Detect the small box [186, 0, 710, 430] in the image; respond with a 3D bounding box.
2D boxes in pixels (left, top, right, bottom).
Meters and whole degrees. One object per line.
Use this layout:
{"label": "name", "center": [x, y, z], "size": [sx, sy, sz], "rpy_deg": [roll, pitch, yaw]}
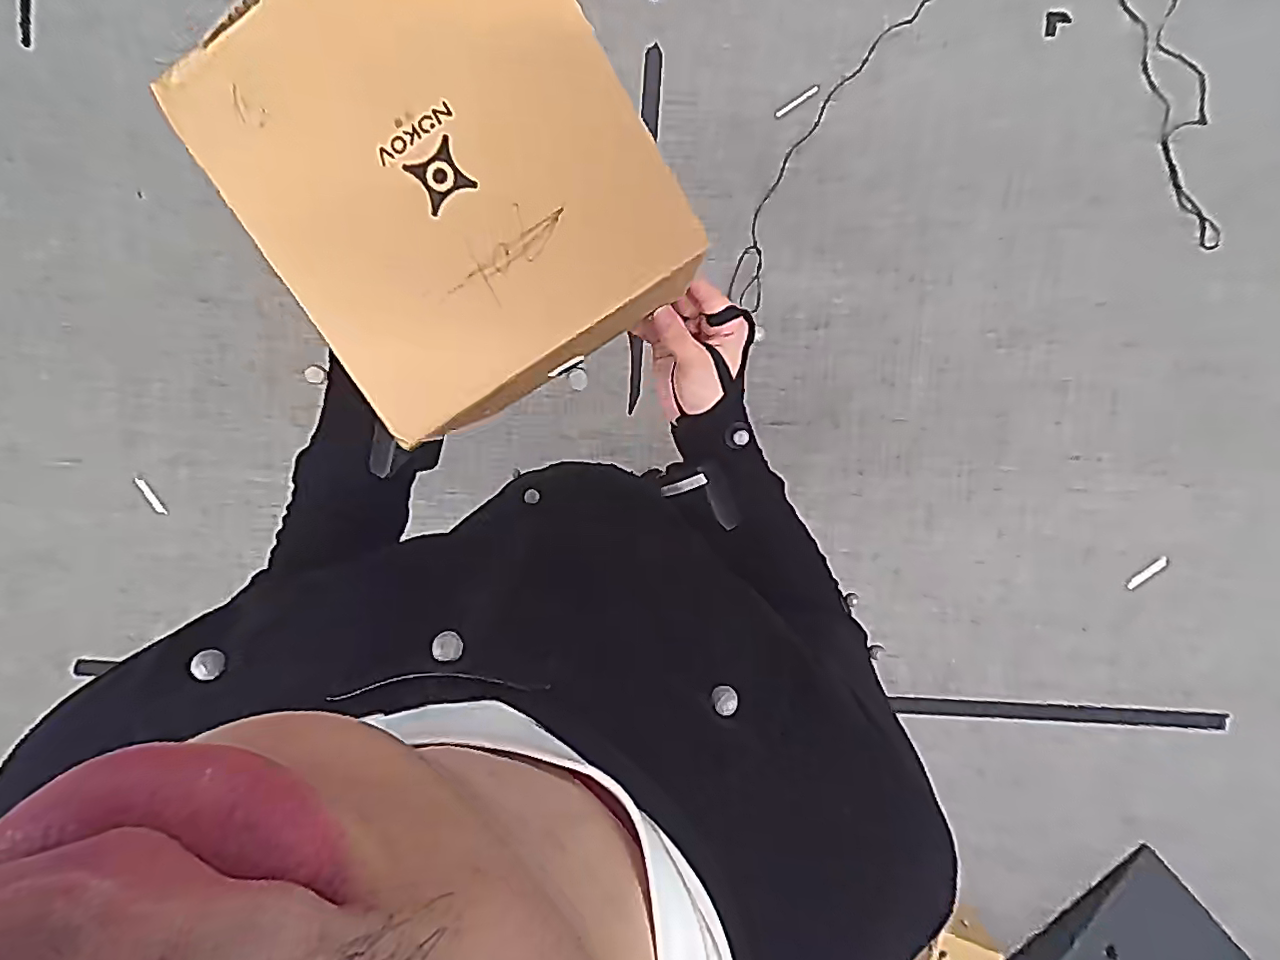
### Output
{"label": "small box", "center": [-0.082, -0.151, 0.314], "size": [0.168, 0.176, 0.179], "rpy_deg": [-32, 101, 8]}
